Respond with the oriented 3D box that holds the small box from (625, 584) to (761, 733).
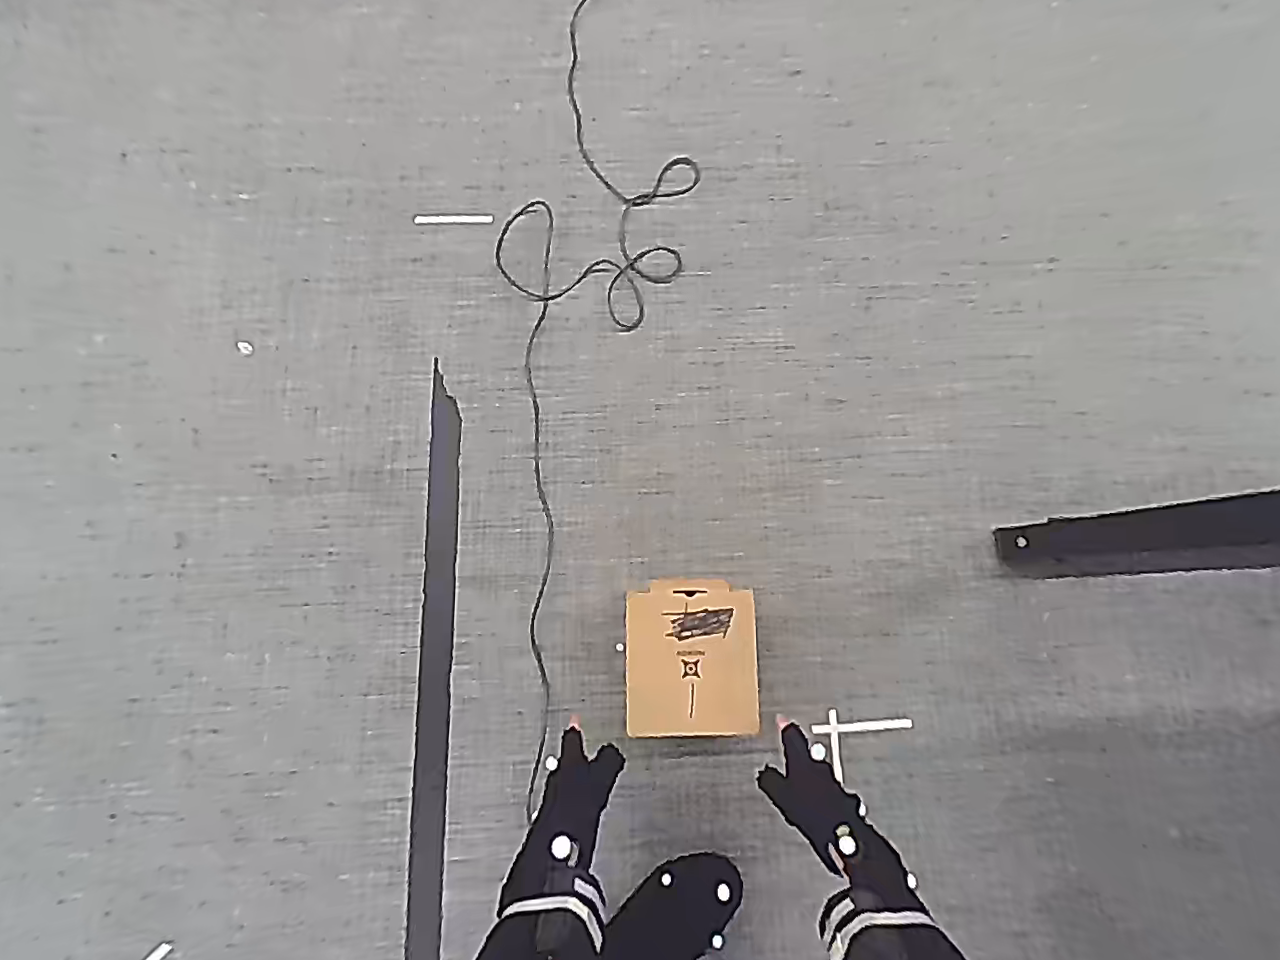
[{"bbox_3d":[0.064,0.235,0.744,0.168,0.176,0.179,1,79,-1],"label":"small box"}]
